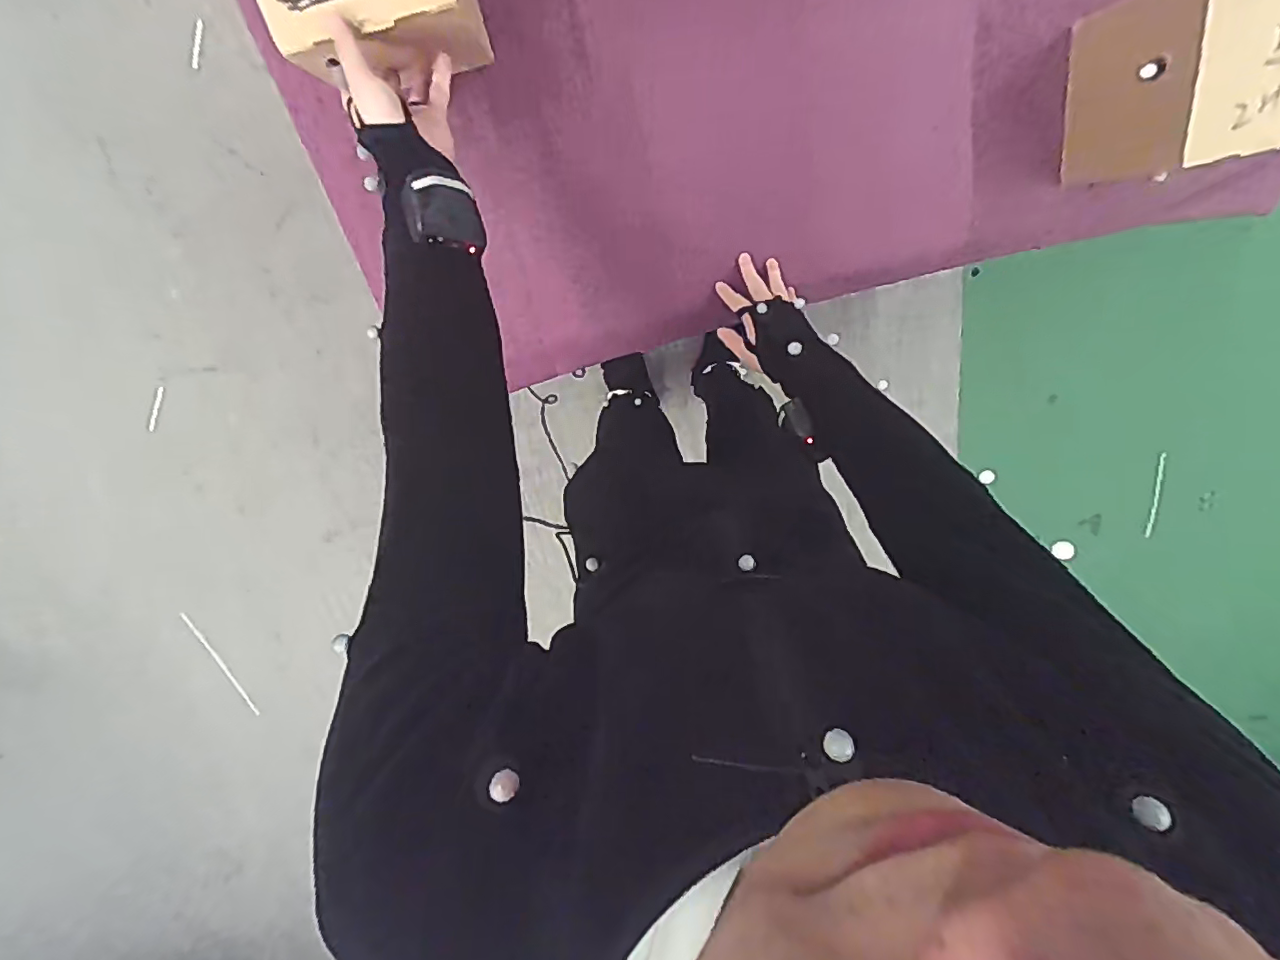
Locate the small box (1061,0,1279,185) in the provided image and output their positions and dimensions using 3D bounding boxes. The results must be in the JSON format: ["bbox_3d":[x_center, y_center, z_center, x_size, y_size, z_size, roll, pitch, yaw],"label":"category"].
[{"bbox_3d":[0.605,-0.442,0.589,0.168,0.176,0.179,-12,114,3],"label":"small box"}]
